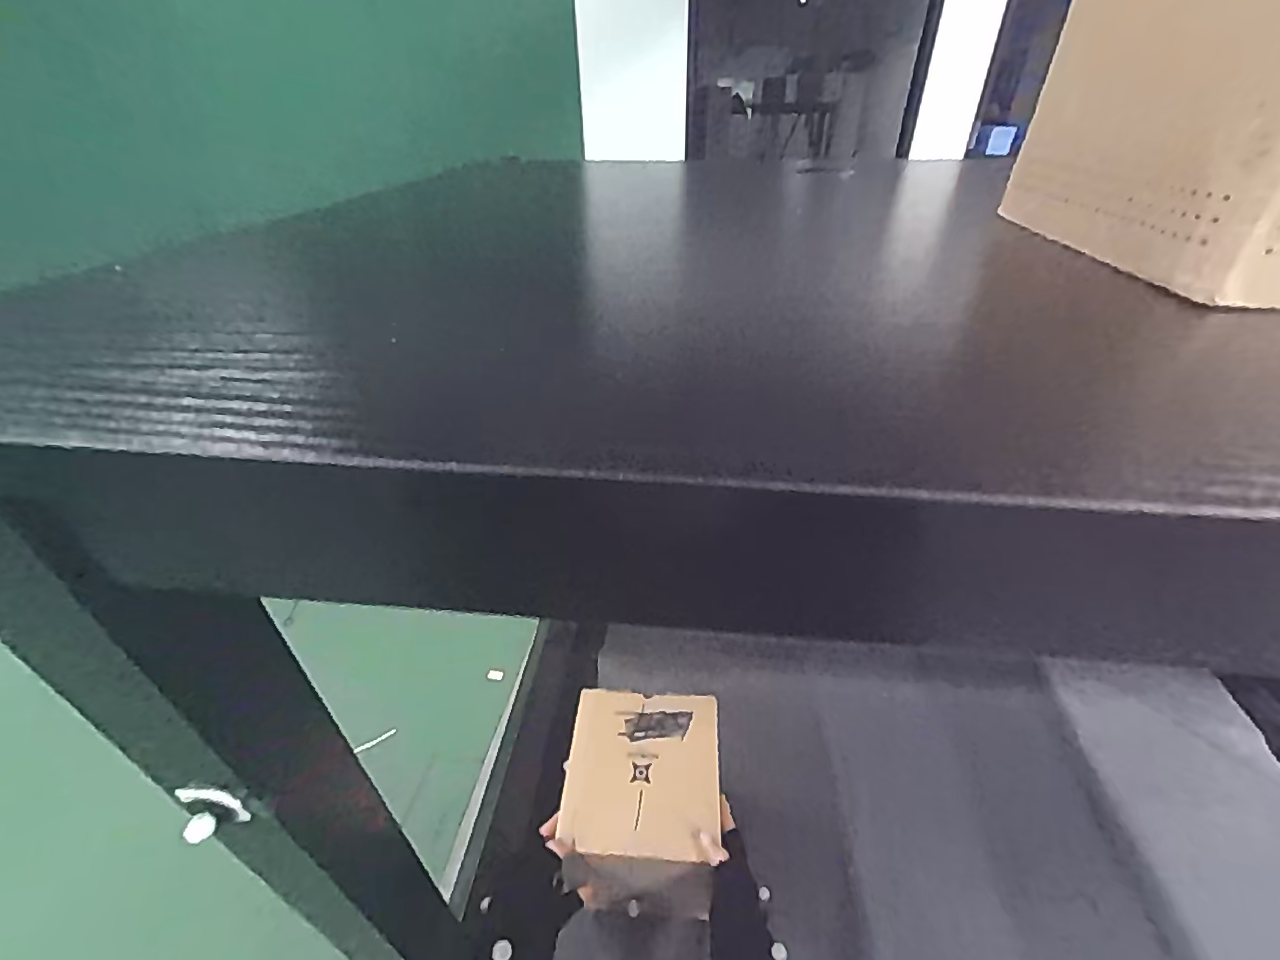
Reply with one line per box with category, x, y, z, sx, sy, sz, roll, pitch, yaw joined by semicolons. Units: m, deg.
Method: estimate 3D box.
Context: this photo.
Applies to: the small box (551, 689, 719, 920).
small box;0.004;0.373;0.631;0.168;0.176;0.179;0;37;6
